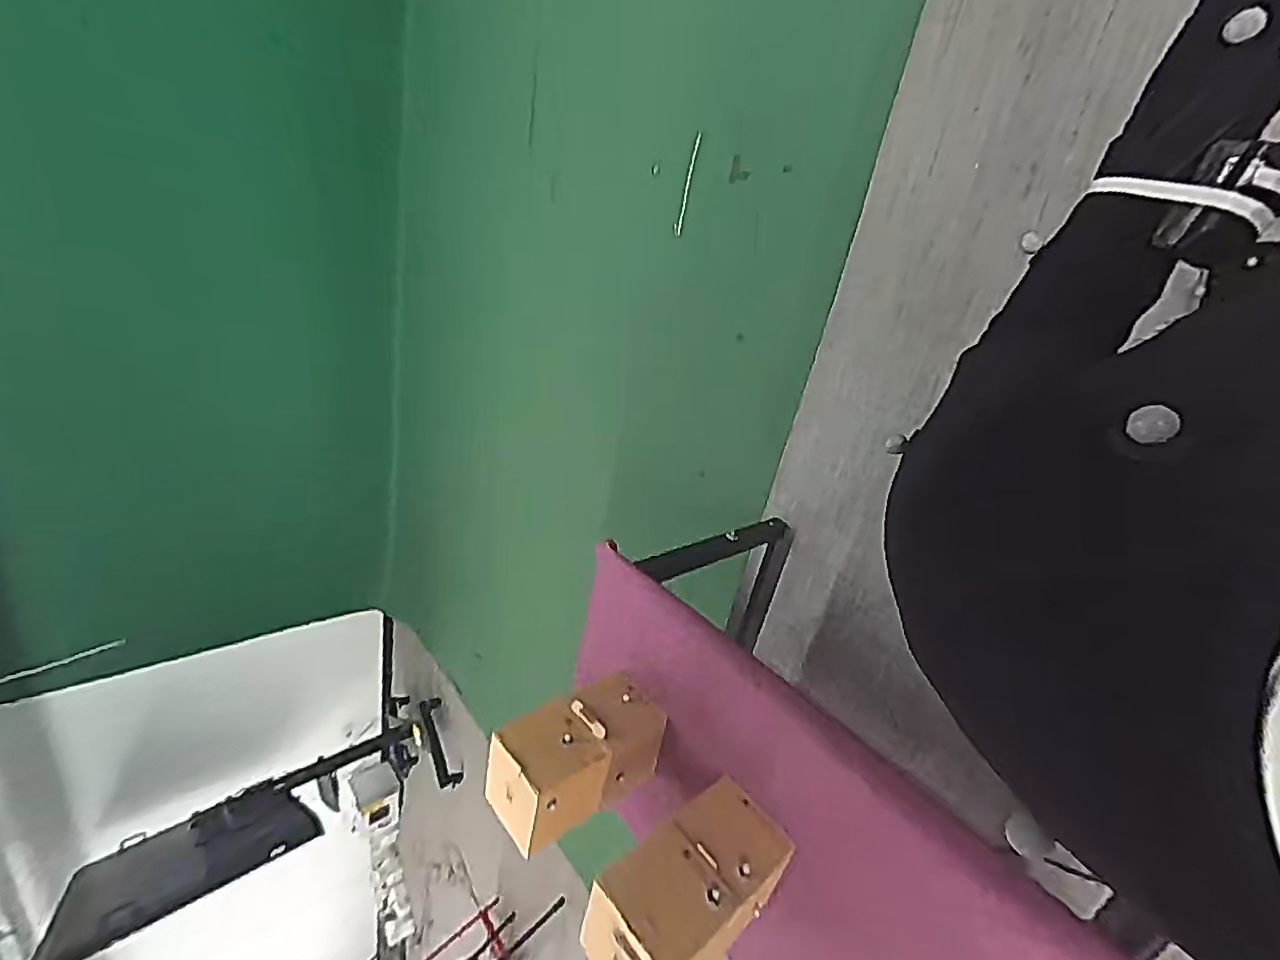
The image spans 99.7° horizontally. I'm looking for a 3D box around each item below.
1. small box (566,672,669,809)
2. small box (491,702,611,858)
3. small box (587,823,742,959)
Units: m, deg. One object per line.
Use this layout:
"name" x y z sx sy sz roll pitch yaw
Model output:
"small box" -0.058 0.560 1.184 0.168 0.176 0.179 29 117 39
"small box" -0.177 0.585 1.075 0.168 0.176 0.179 29 117 39
"small box" 0.041 0.707 0.869 0.168 0.176 0.179 32 121 38
